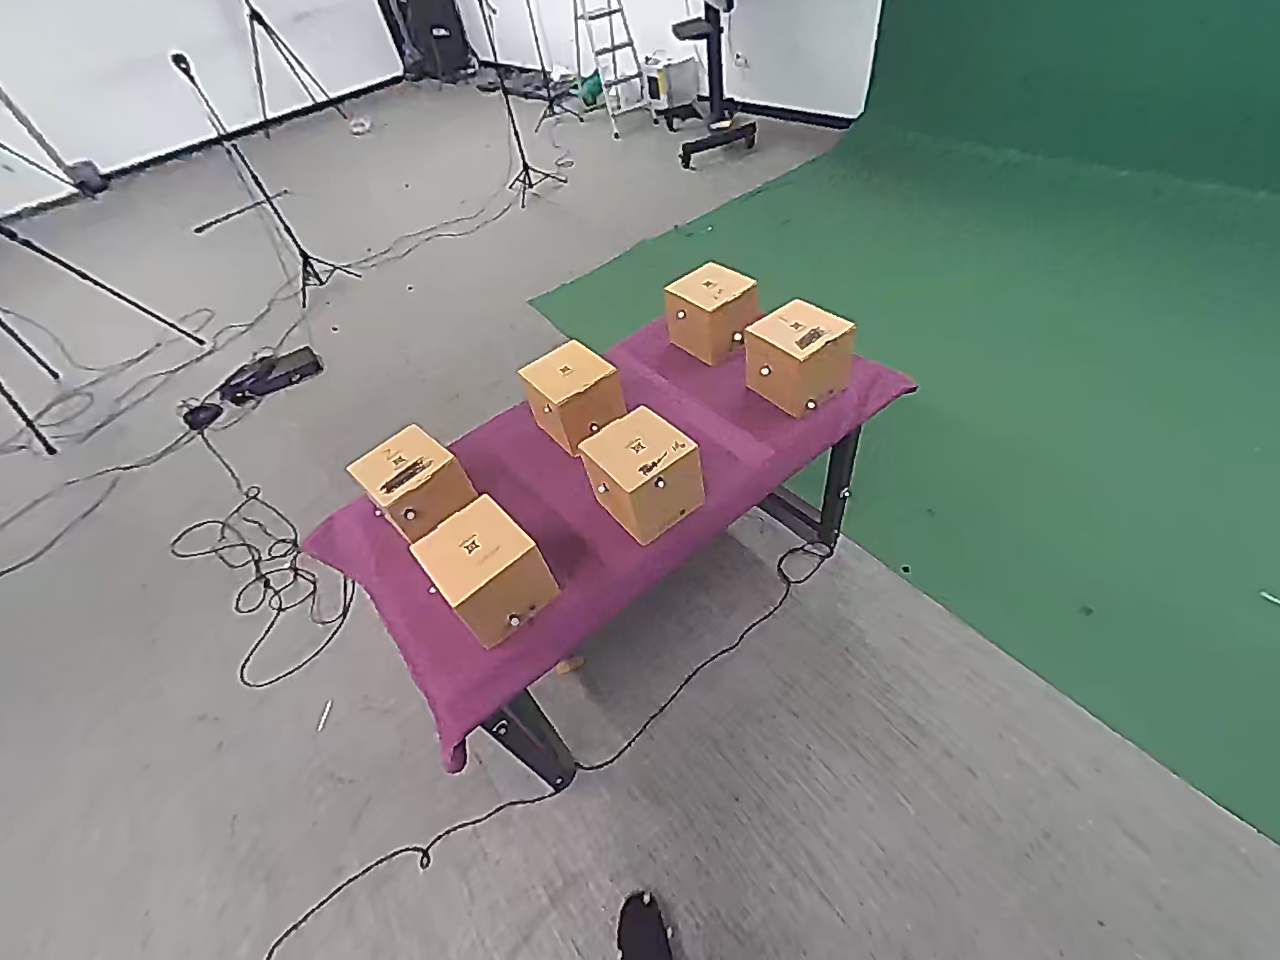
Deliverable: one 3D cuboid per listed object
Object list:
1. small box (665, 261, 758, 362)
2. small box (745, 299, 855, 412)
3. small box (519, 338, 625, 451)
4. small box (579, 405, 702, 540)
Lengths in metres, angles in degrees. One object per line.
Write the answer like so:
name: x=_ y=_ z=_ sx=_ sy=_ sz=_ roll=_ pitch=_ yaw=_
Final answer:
small box: x=0.188 y=-0.439 z=1.412 sx=0.168 sy=0.176 sz=0.179 roll=-35 pitch=53 yaw=-17
small box: x=0.361 y=-0.280 z=1.240 sx=0.168 sy=0.176 sz=0.179 roll=-32 pitch=49 yaw=-16
small box: x=-0.155 y=-0.198 z=1.274 sx=0.168 sy=0.176 sz=0.179 roll=-35 pitch=53 yaw=-19
small box: x=0.006 y=-0.013 z=1.078 sx=0.168 sy=0.176 sz=0.179 roll=-34 pitch=50 yaw=-18
